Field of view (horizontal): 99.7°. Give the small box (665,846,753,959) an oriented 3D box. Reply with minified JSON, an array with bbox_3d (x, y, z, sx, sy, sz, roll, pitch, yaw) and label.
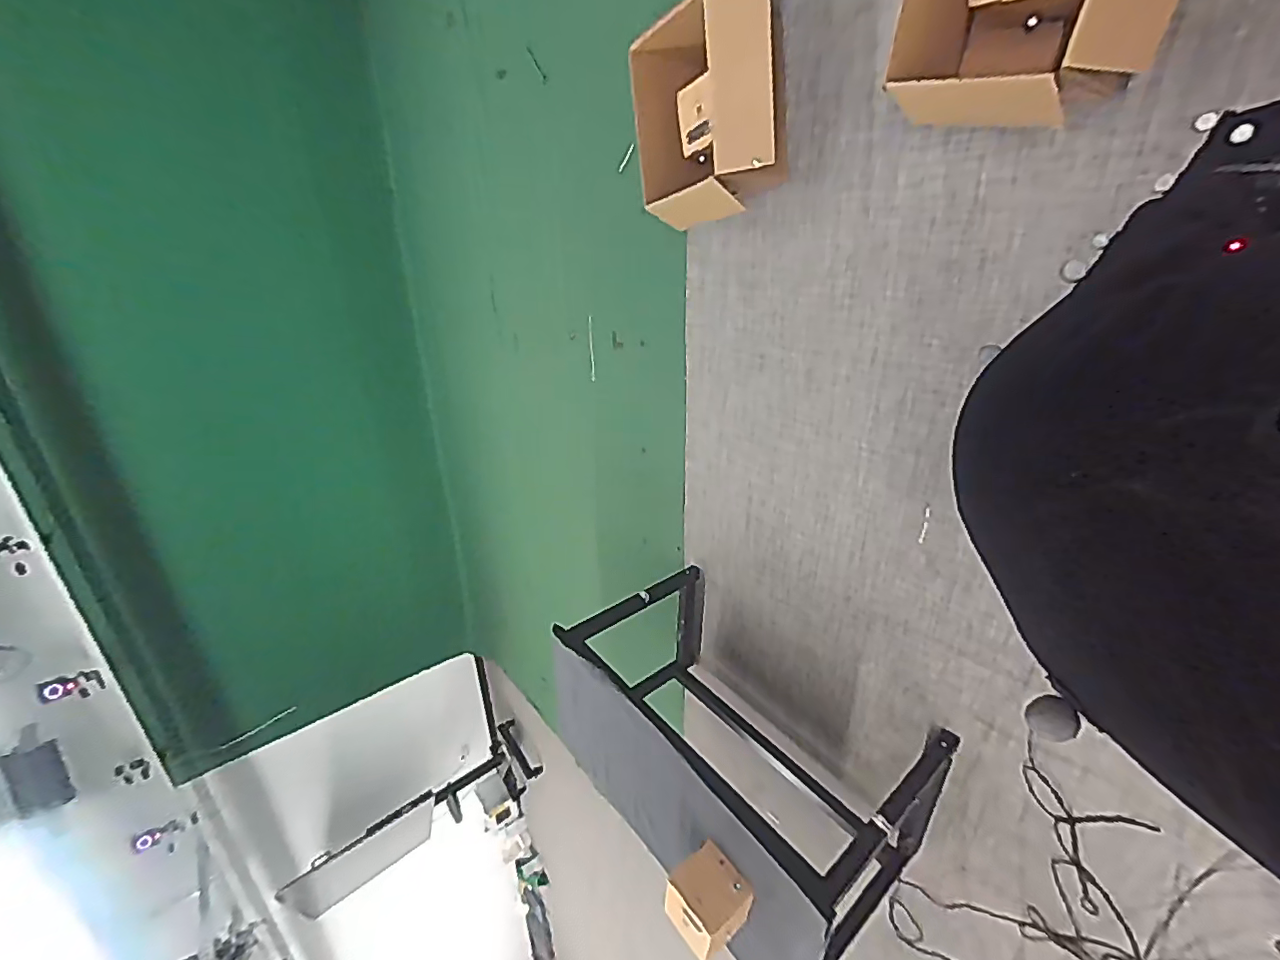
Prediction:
[{"bbox_3d":[0.189,1.160,1.482,0.168,0.176,0.179,33,131,42],"label":"small box"}]
